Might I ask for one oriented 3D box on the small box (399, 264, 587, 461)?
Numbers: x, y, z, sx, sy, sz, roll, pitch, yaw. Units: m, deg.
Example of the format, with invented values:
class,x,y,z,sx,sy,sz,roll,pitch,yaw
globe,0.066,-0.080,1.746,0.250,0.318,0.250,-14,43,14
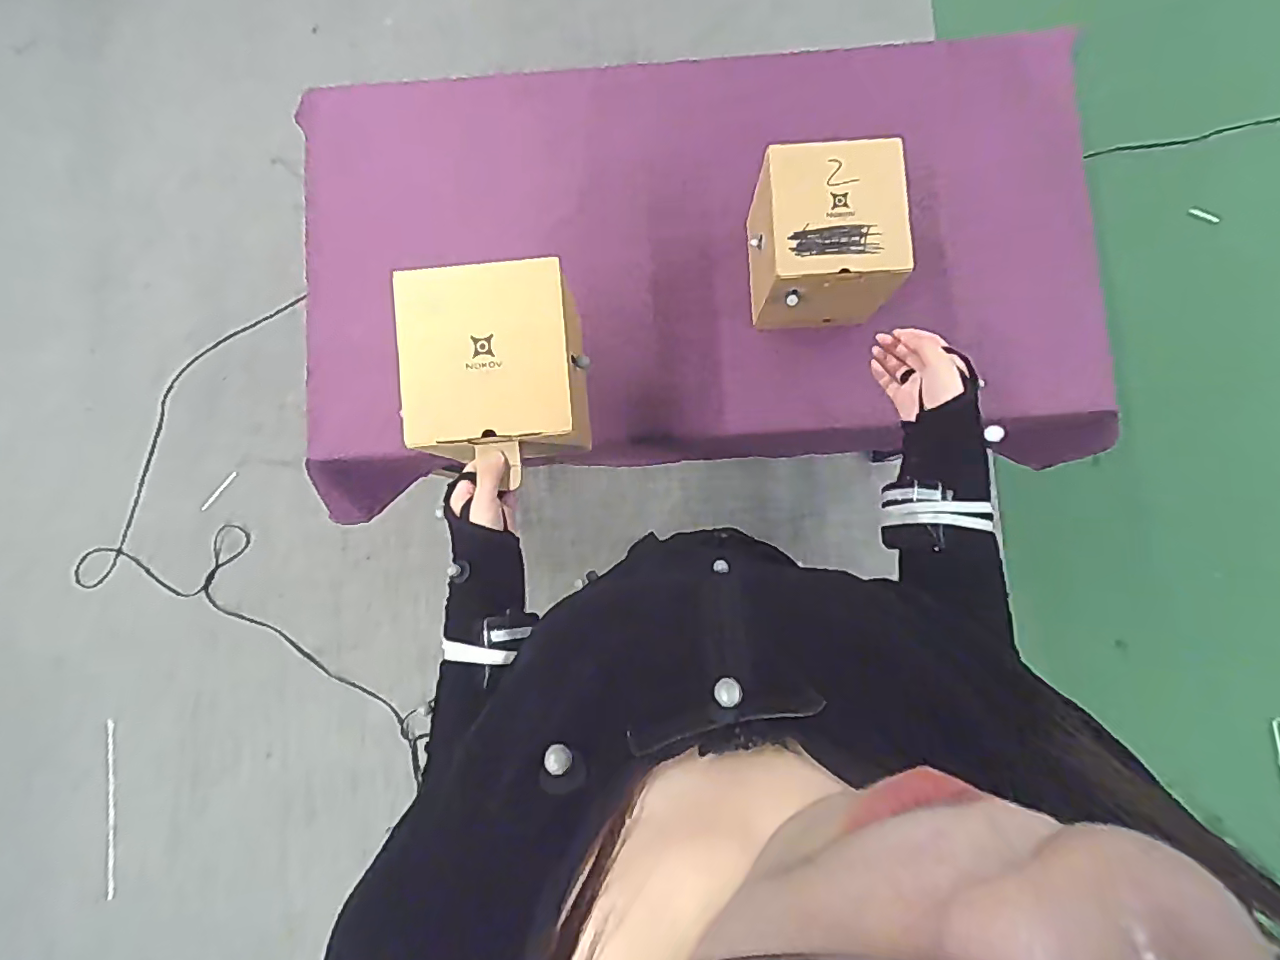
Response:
class,x,y,z,sx,sy,sz,roll,pitch,yaw
small box,-0.155,-0.122,0.620,0.168,0.176,0.179,-5,87,1
